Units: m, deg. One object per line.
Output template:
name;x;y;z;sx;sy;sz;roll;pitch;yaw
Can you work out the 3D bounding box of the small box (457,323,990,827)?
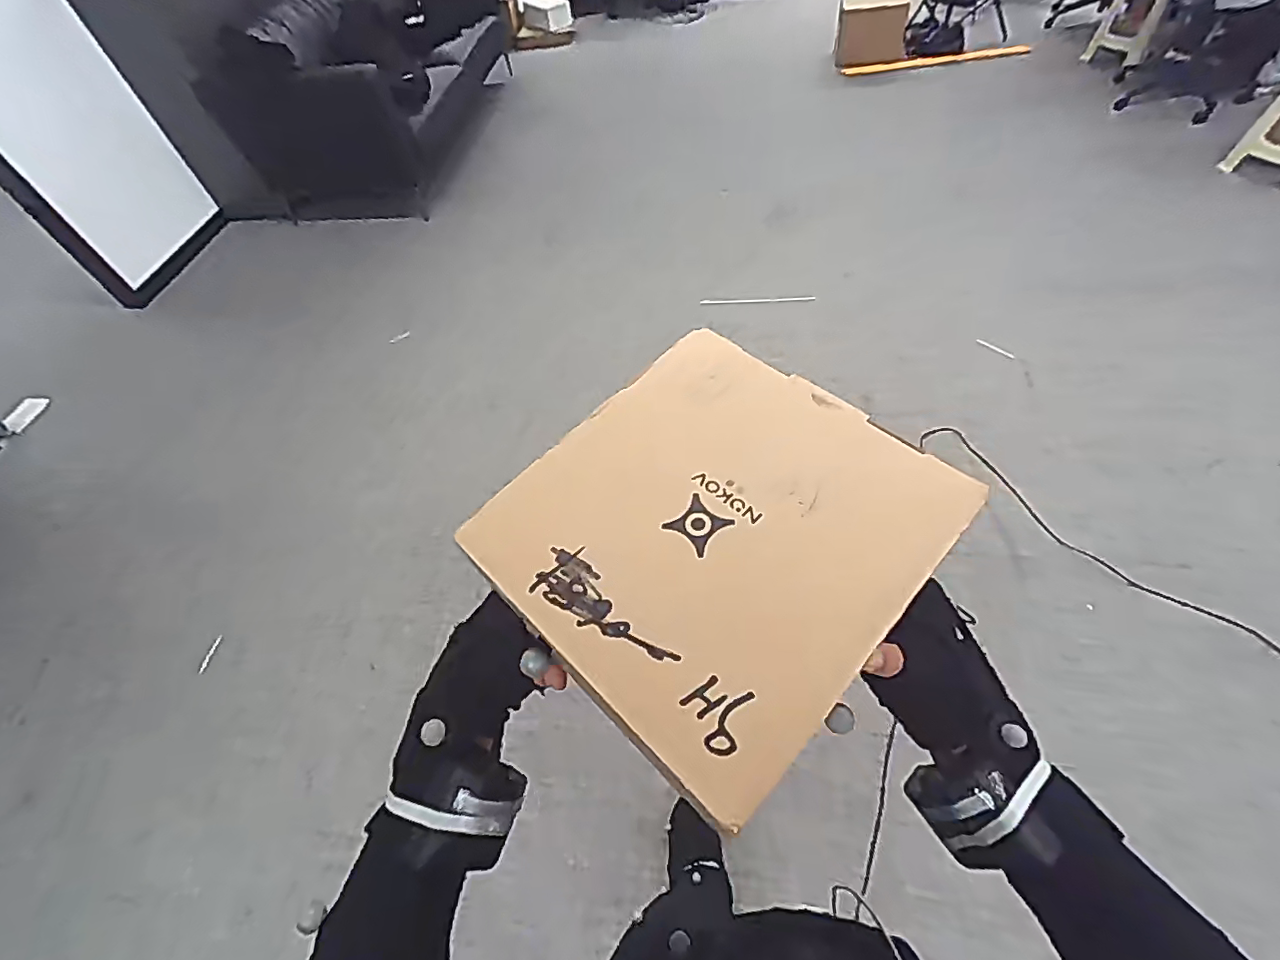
small box;0.039;0.055;0.301;0.168;0.176;0.179;38;68;26
